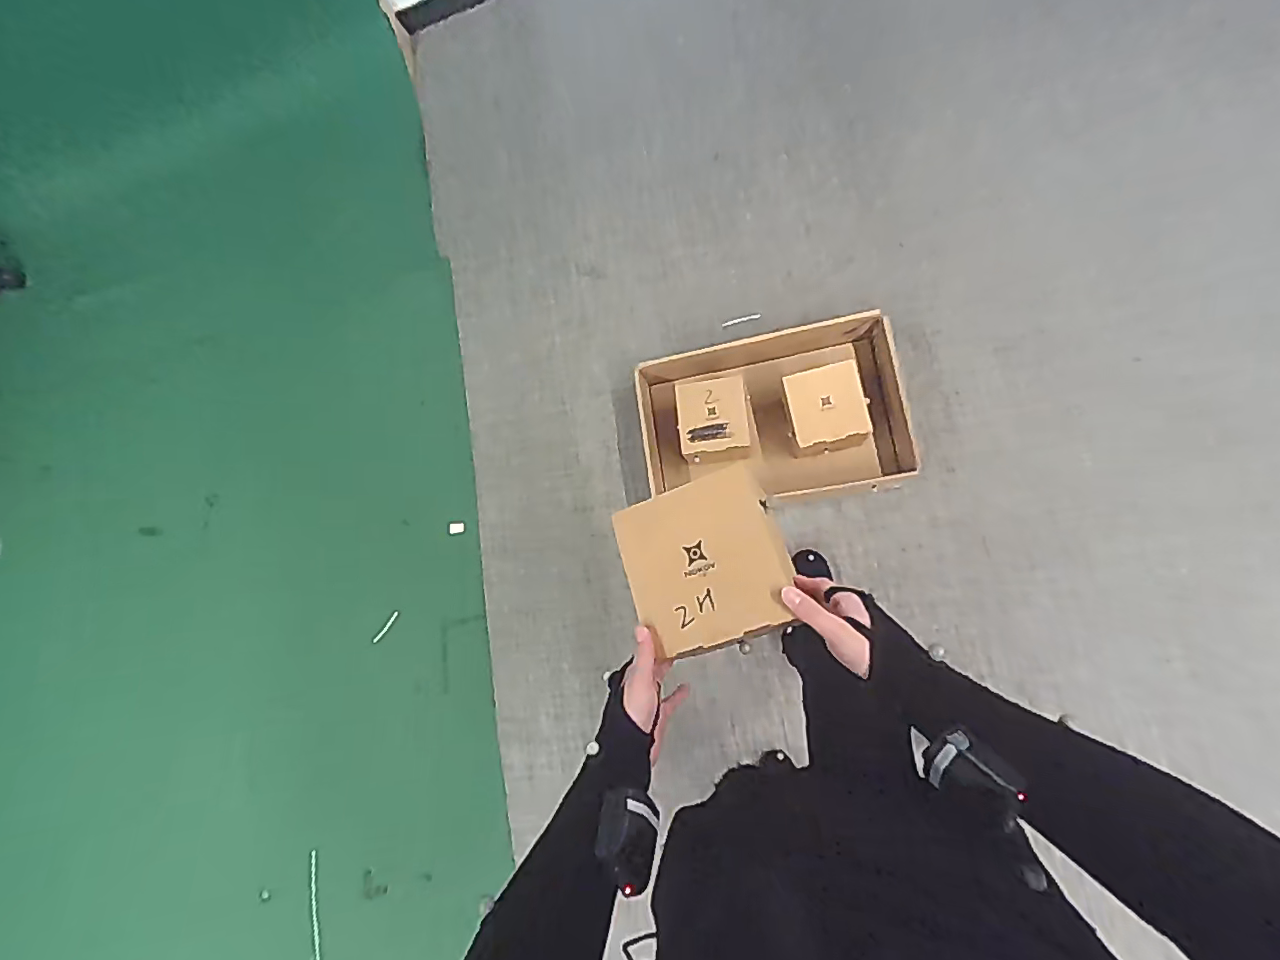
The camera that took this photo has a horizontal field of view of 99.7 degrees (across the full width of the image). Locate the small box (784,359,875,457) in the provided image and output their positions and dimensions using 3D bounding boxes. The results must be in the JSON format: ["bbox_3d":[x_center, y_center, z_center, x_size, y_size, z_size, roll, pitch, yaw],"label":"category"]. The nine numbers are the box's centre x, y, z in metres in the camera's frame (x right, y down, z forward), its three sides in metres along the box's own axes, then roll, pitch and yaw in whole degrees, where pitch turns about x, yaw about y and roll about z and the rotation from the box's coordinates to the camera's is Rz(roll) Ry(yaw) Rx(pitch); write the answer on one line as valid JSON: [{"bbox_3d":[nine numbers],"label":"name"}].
[{"bbox_3d":[0.450,-0.168,1.311,0.168,0.176,0.179,-13,80,12],"label":"small box"}]

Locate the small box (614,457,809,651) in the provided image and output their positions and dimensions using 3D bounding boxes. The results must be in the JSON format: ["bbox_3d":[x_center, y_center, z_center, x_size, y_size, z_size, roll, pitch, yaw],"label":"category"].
[{"bbox_3d":[0.092,0.099,0.657,0.168,0.176,0.179,-23,68,16],"label":"small box"}]
